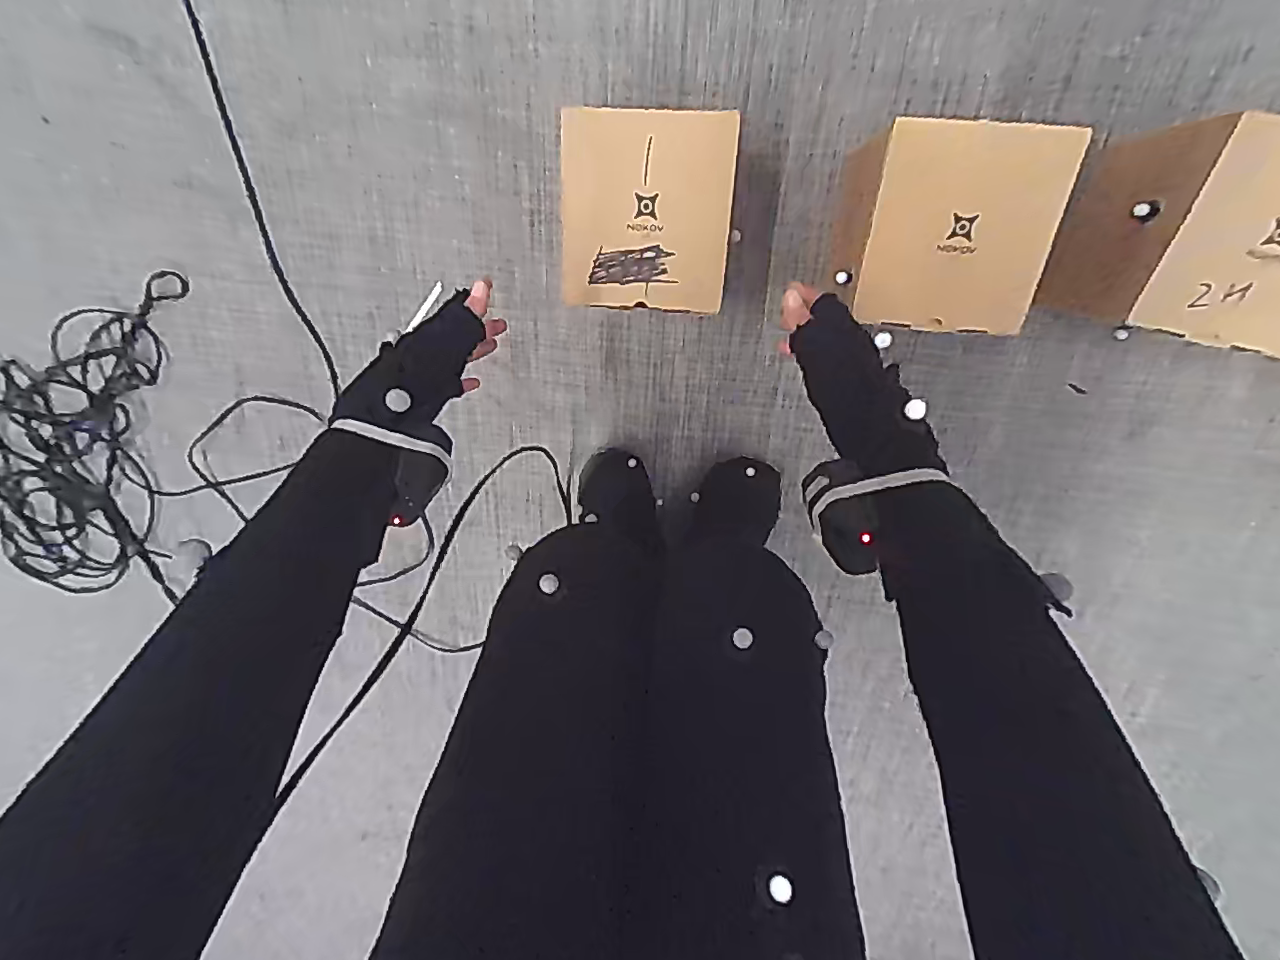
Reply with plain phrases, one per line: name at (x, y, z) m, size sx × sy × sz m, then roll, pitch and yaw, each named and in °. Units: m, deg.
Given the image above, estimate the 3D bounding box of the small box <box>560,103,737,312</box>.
small box at (0.012, -0.291, 0.597) m, size 0.168 × 0.176 × 0.179 m, roll 6°, pitch 114°, yaw 5°

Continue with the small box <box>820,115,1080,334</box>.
small box at (0.301, -0.262, 0.574) m, size 0.168 × 0.176 × 0.179 m, roll 6°, pitch 114°, yaw 5°

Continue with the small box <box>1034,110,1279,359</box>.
small box at (0.556, -0.242, 0.551) m, size 0.168 × 0.176 × 0.179 m, roll 14°, pitch 115°, yaw 2°
